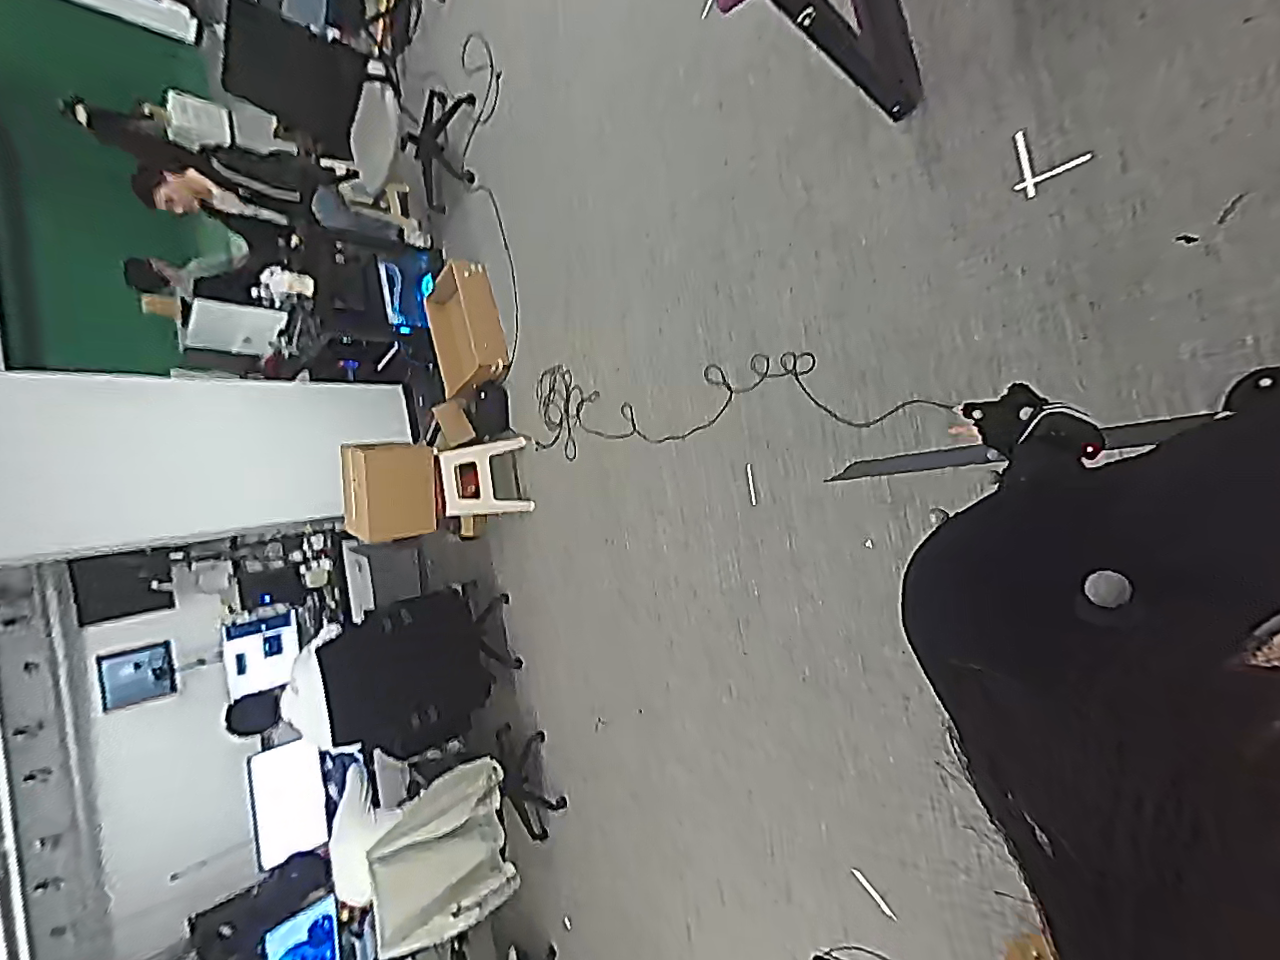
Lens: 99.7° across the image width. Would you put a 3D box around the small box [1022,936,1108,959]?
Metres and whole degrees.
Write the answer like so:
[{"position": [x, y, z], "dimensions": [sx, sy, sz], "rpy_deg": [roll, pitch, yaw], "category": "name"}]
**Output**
[{"position": [1.005, 1.203, 1.243], "dimensions": [0.168, 0.176, 0.179], "rpy_deg": [56, 129, 25], "category": "small box"}]
